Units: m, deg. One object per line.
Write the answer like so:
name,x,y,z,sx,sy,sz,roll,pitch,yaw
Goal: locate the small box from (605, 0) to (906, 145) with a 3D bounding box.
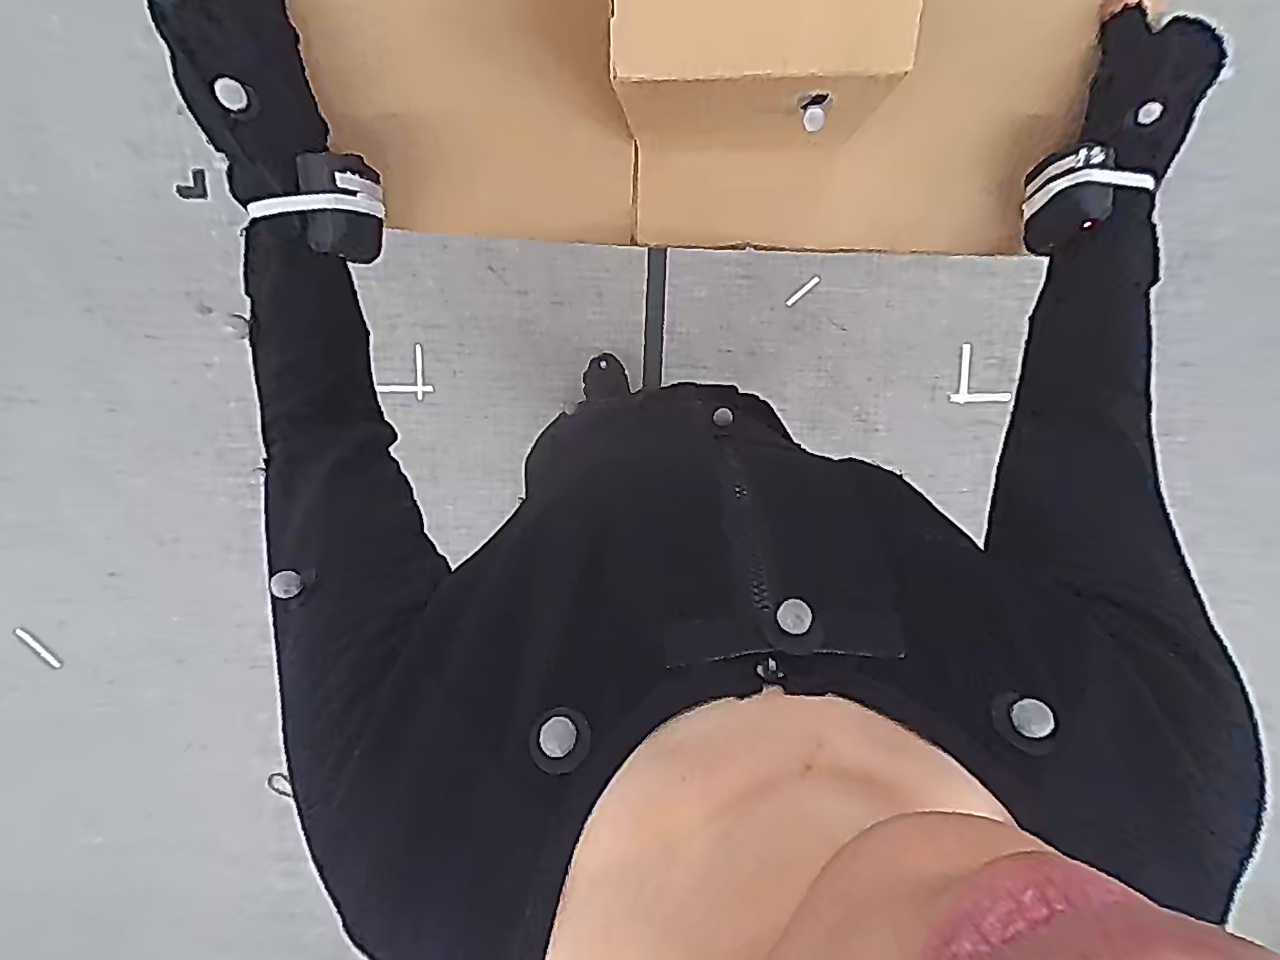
small box,0.076,-0.348,0.373,0.179,0.176,0.168,4,108,6
